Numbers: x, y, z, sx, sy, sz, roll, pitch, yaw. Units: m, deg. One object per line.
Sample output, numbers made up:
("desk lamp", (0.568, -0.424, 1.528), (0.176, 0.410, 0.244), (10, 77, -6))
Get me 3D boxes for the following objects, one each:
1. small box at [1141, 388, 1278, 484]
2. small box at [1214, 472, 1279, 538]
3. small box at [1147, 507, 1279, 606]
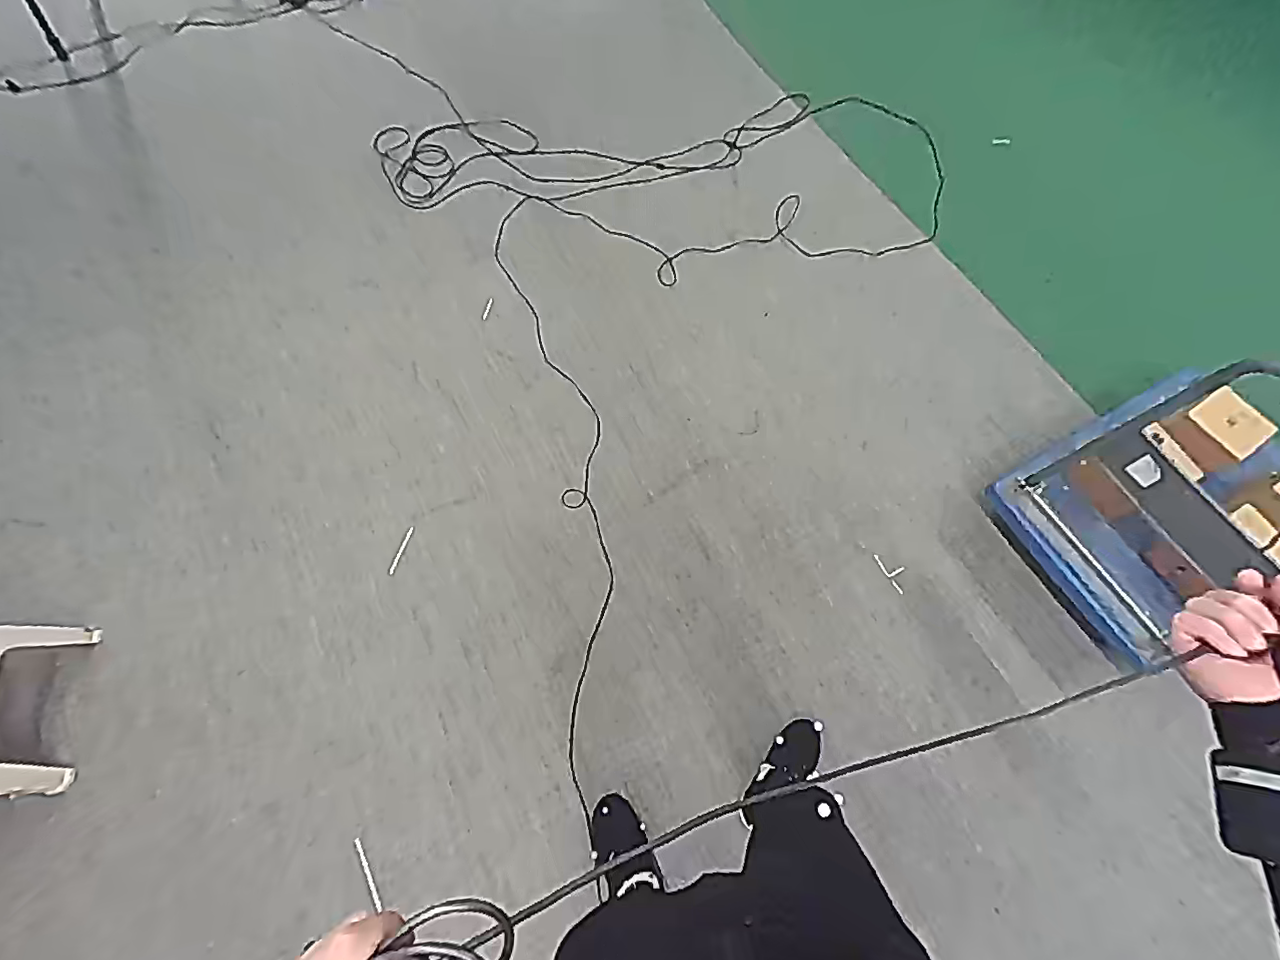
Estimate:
("small box", (1.558, -0.115, 1.497), (0.179, 0.176, 0.168), (-29, 72, -14))
("small box", (1.693, 0.081, 1.417), (0.179, 0.176, 0.168), (-30, 70, -13))
("small box", (1.455, 0.196, 1.360), (0.179, 0.176, 0.168), (-25, 70, -11))
